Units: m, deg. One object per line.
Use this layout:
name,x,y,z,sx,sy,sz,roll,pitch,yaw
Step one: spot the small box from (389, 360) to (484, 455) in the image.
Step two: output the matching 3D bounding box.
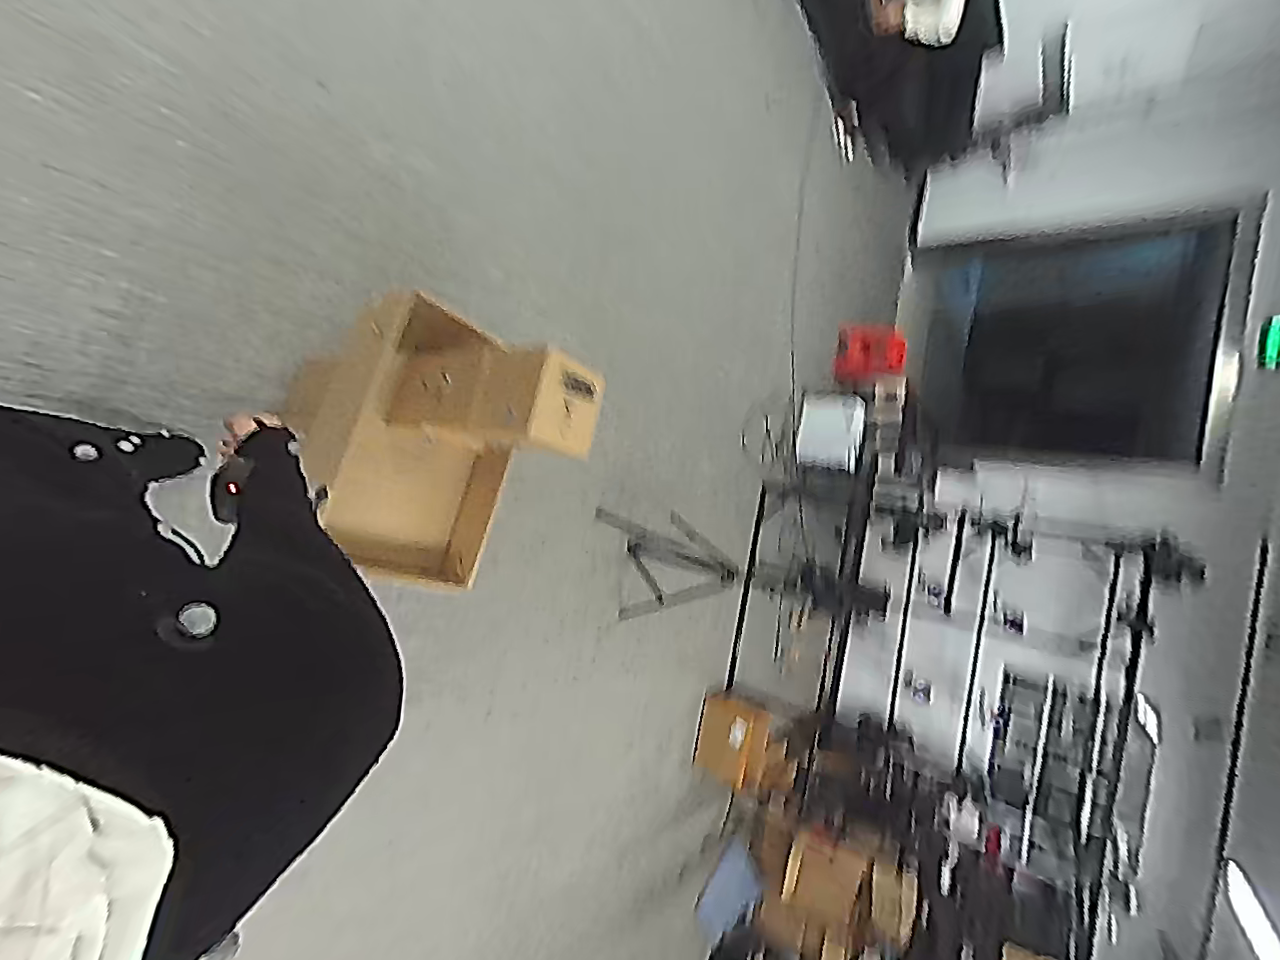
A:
small box,-0.466,-0.173,1.286,0.168,0.176,0.179,23,80,-51

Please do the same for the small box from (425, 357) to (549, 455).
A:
small box,-0.335,-0.162,1.188,0.179,0.176,0.168,20,81,-52
